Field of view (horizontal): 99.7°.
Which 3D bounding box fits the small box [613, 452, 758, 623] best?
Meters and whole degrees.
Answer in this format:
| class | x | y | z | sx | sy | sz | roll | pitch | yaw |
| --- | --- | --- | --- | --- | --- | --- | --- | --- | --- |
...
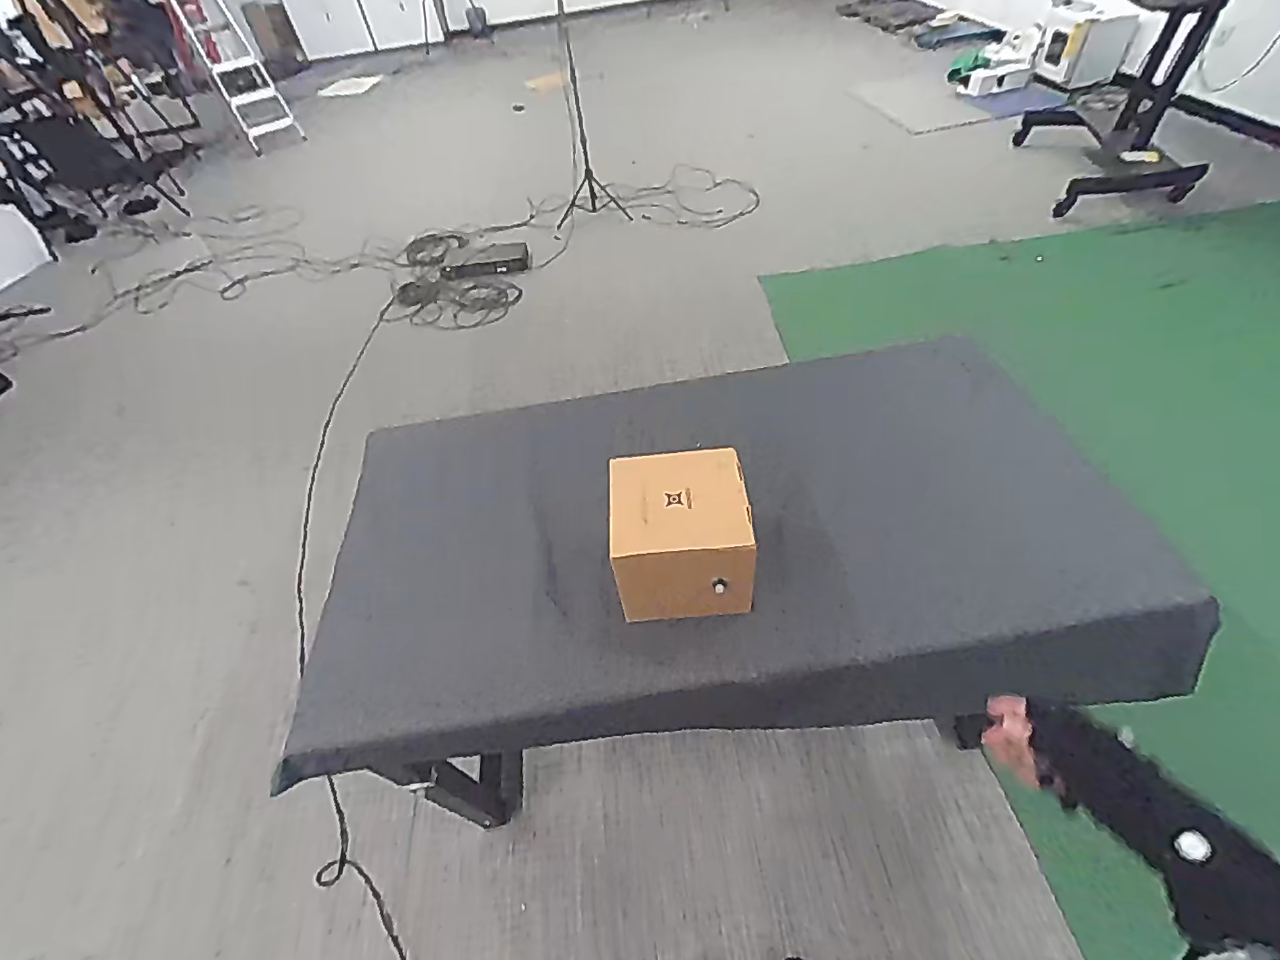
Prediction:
| class | x | y | z | sx | sy | sz | roll | pitch | yaw |
| --- | --- | --- | --- | --- | --- | --- | --- | --- | --- |
| small box | 0.060 | 0.083 | 0.753 | 0.179 | 0.176 | 0.168 | -6 | 47 | 4 |
